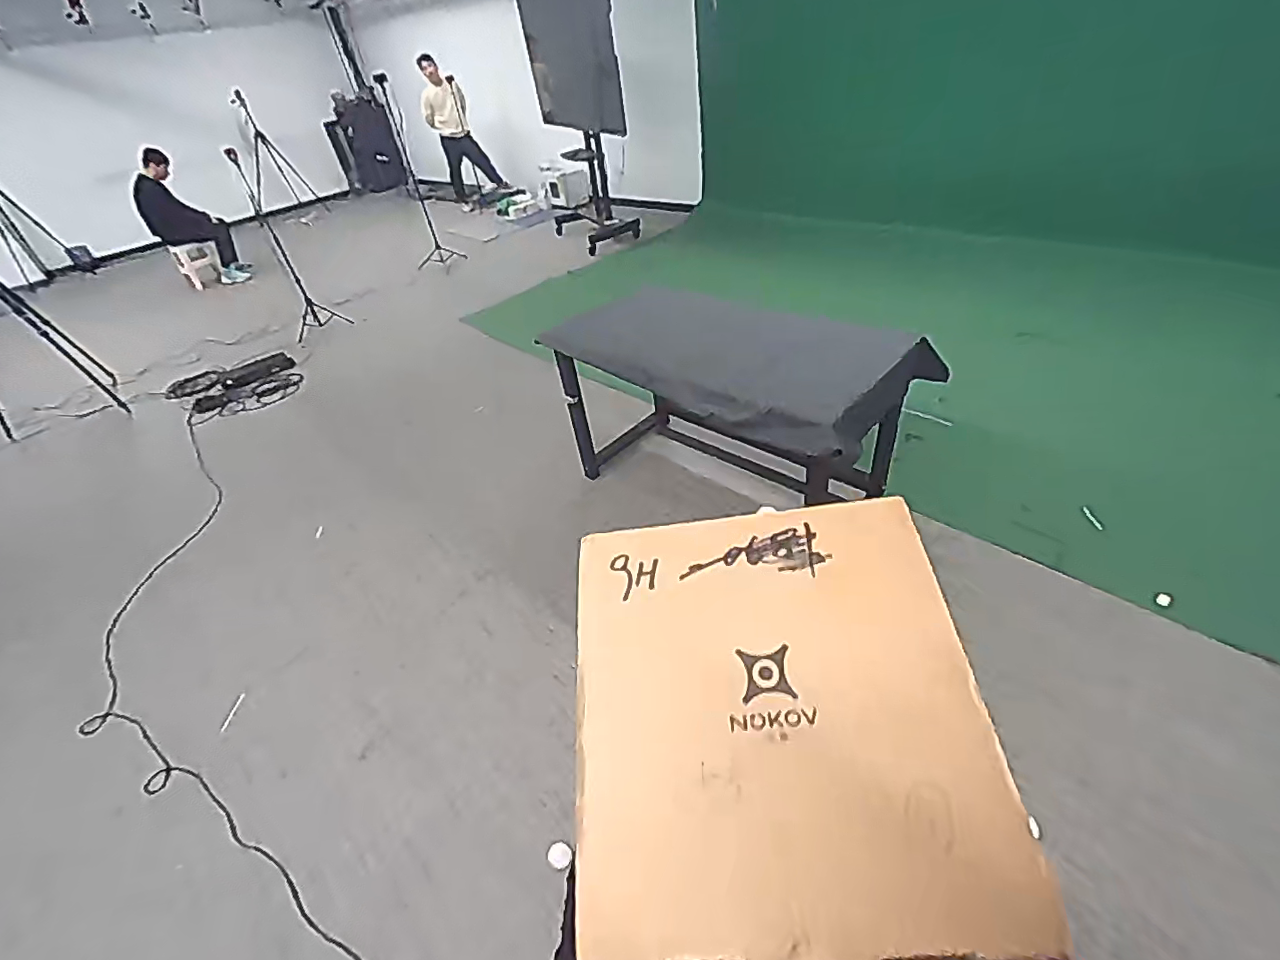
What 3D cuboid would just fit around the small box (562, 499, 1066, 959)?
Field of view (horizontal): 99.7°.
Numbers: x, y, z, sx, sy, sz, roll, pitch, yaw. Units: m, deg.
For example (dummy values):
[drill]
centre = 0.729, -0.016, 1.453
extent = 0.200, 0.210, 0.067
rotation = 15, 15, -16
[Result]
[small box]
centre = 0.061, 0.132, 0.286
extent = 0.168, 0.176, 0.179
rotation = -6, 58, 5
